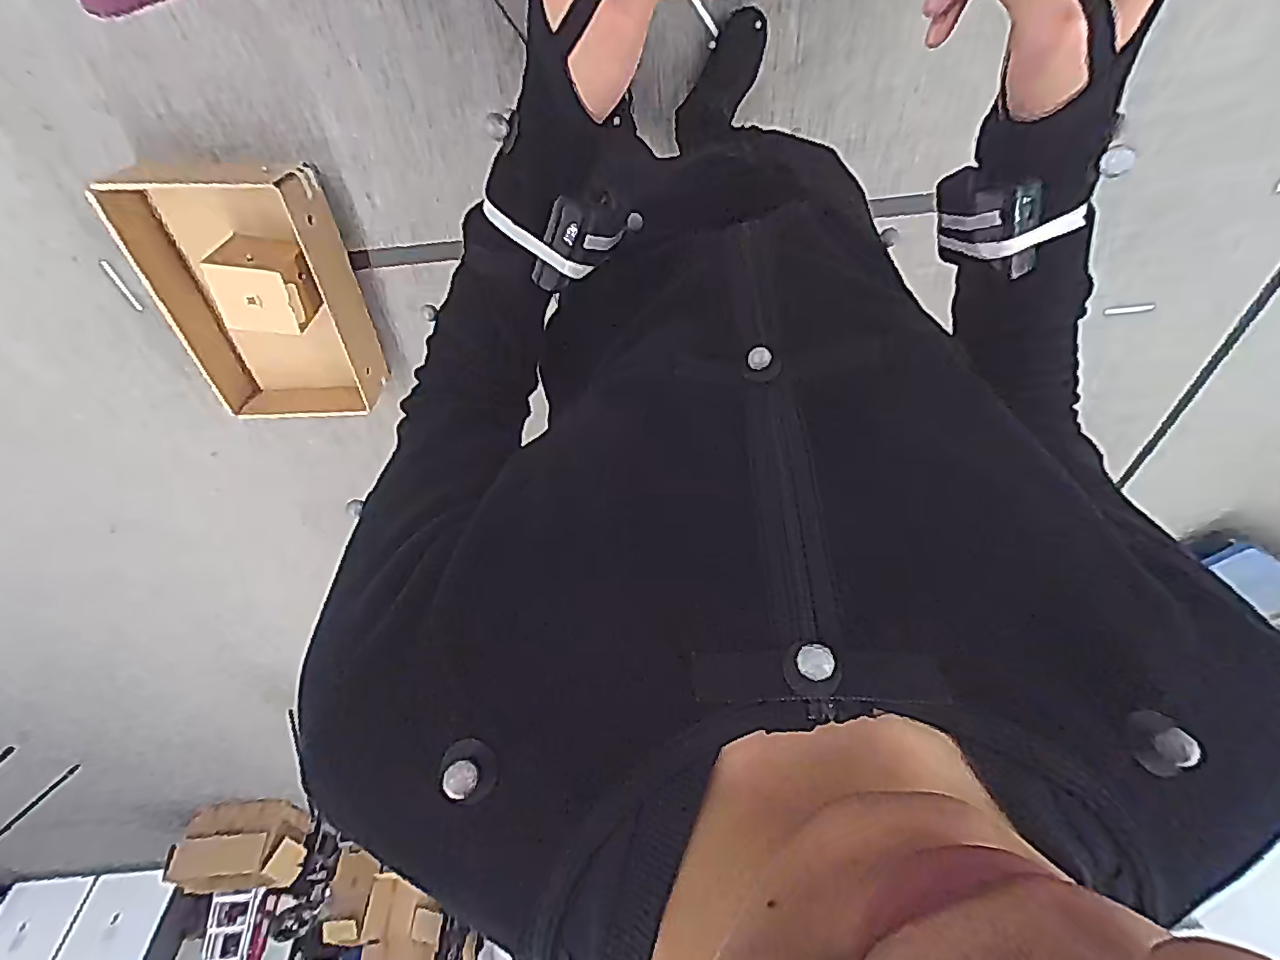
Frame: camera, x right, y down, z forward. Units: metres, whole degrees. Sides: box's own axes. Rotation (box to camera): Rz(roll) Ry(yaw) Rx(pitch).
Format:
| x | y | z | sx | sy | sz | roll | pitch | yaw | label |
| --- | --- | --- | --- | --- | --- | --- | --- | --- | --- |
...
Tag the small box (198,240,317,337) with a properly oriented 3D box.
| x | y | z | sx | sy | sz | roll | pitch | yaw | label |
| --- | --- | --- | --- | --- | --- | --- | --- | --- | --- |
| -0.925 | -0.474 | 1.335 | 0.179 | 0.176 | 0.168 | 4 | 134 | -9 | small box |
